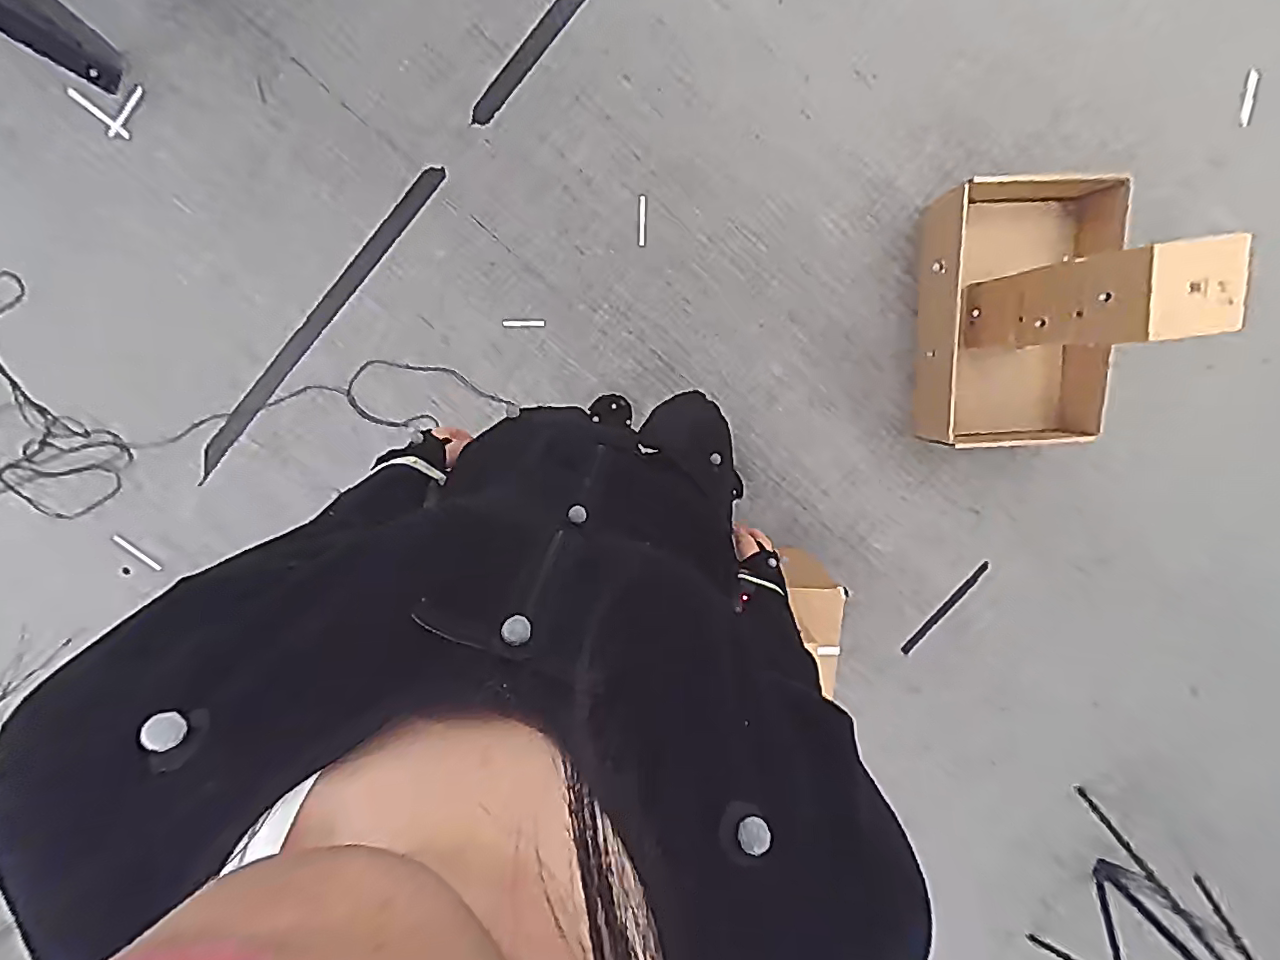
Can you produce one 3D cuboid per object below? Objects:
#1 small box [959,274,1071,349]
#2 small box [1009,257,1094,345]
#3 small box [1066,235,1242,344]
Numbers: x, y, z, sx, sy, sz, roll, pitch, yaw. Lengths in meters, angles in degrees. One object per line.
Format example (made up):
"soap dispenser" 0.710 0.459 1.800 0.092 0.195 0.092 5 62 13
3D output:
"small box" 0.937 -0.416 1.344 0.179 0.176 0.168 -3 101 -2
"small box" 0.948 -0.390 1.185 0.179 0.176 0.168 -8 103 -3
"small box" 0.956 -0.351 1.024 0.179 0.176 0.168 -7 104 -1
